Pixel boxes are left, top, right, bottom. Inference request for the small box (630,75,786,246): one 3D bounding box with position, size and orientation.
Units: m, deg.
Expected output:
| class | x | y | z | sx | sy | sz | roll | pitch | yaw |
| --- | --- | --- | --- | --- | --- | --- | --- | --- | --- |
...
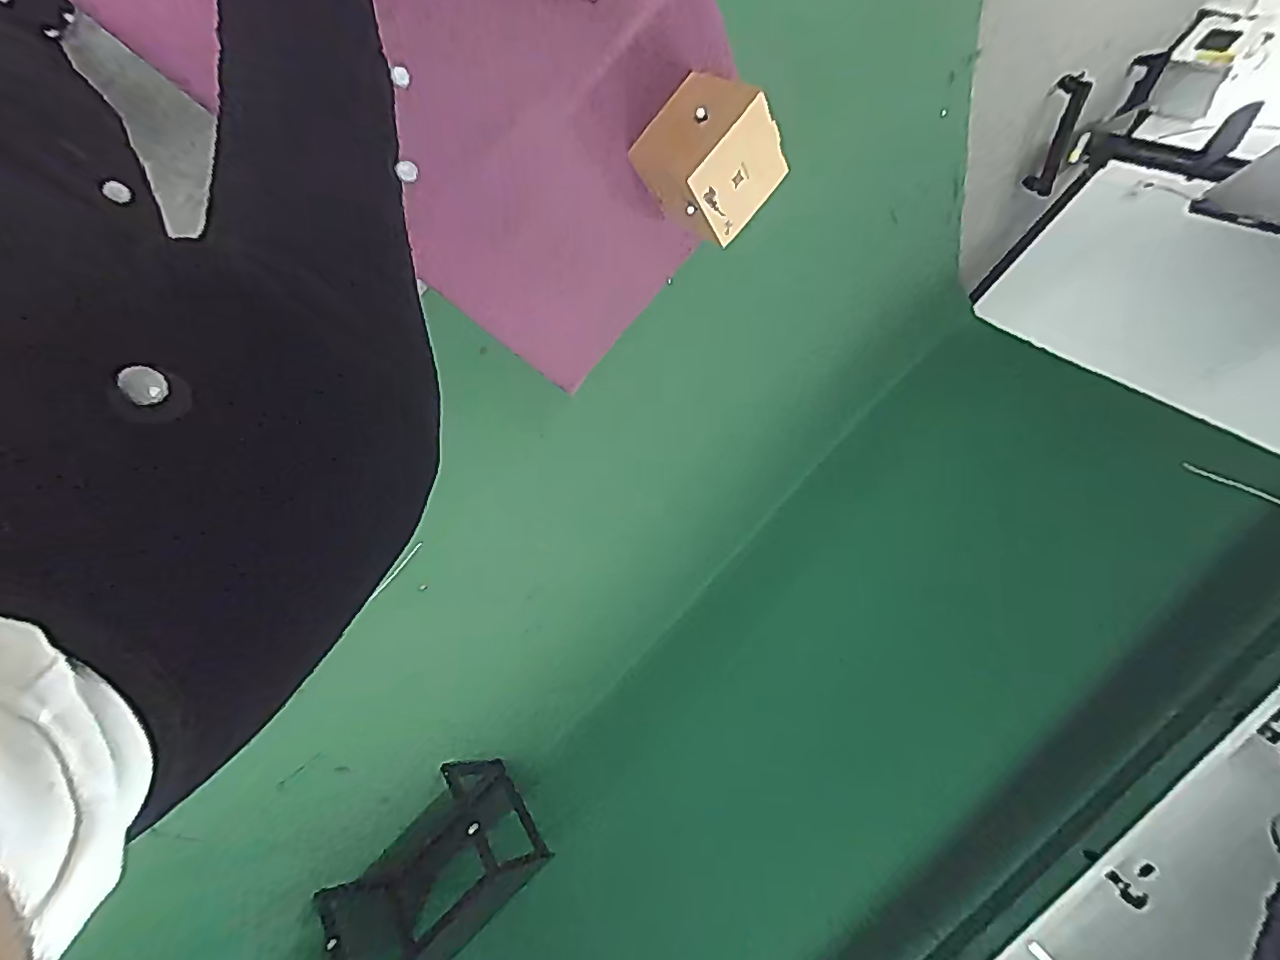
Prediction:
| class | x | y | z | sx | sy | sz | roll | pitch | yaw |
| --- | --- | --- | --- | --- | --- | --- | --- | --- | --- |
| small box | 0.116 | -0.553 | 0.935 | 0.179 | 0.176 | 0.168 | -49 | 146 | 6 |
